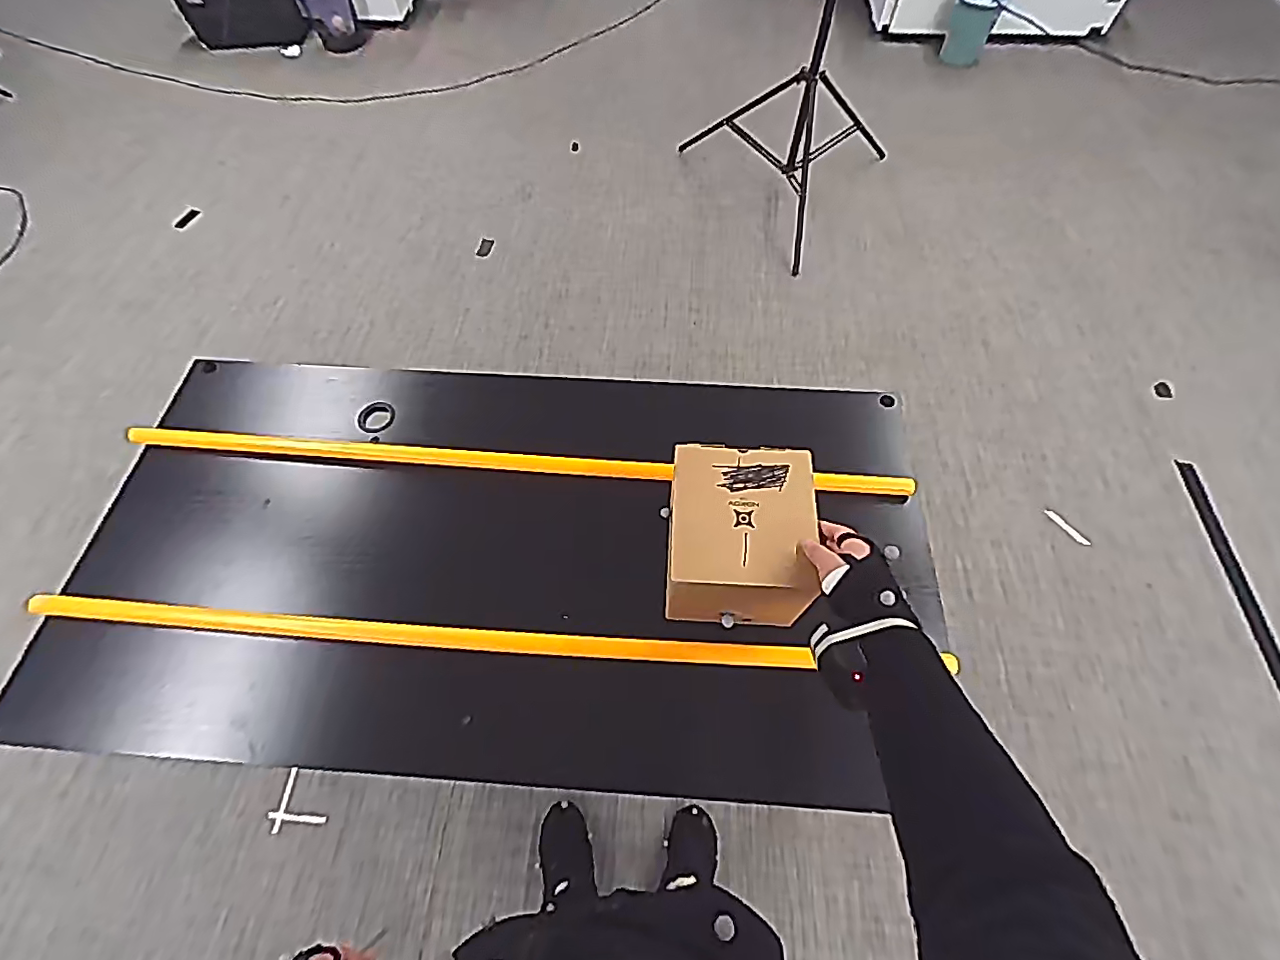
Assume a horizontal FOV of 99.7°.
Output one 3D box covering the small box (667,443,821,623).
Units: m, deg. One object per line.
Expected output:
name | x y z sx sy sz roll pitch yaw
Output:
small box | 0.121 0.073 0.696 0.168 0.176 0.179 3 62 3
